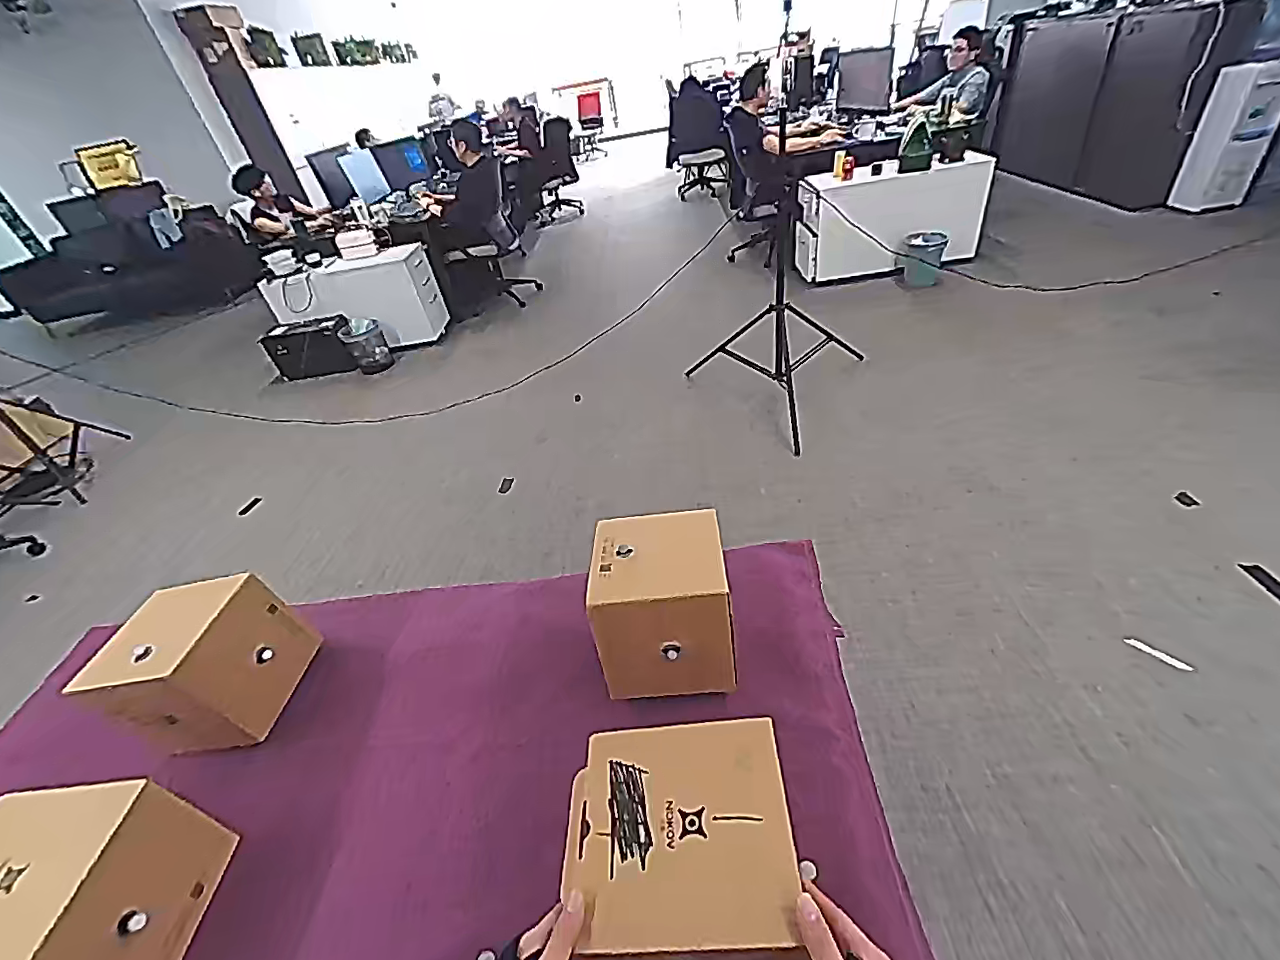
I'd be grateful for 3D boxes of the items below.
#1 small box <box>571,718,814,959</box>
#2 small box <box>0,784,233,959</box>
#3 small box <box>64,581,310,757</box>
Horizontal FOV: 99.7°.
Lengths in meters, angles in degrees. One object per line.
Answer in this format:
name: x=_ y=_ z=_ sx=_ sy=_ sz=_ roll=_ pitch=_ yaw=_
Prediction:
small box: x=0.053 y=0.342 z=0.489 sx=0.179 sy=0.176 sz=0.168 roll=-9 pitch=38 yaw=8
small box: x=-0.577 y=0.437 z=0.549 sx=0.179 sy=0.176 sz=0.168 roll=-8 pitch=38 yaw=4
small box: x=-0.606 y=0.260 z=0.759 sx=0.179 sy=0.168 sz=0.176 roll=-11 pitch=36 yaw=12
